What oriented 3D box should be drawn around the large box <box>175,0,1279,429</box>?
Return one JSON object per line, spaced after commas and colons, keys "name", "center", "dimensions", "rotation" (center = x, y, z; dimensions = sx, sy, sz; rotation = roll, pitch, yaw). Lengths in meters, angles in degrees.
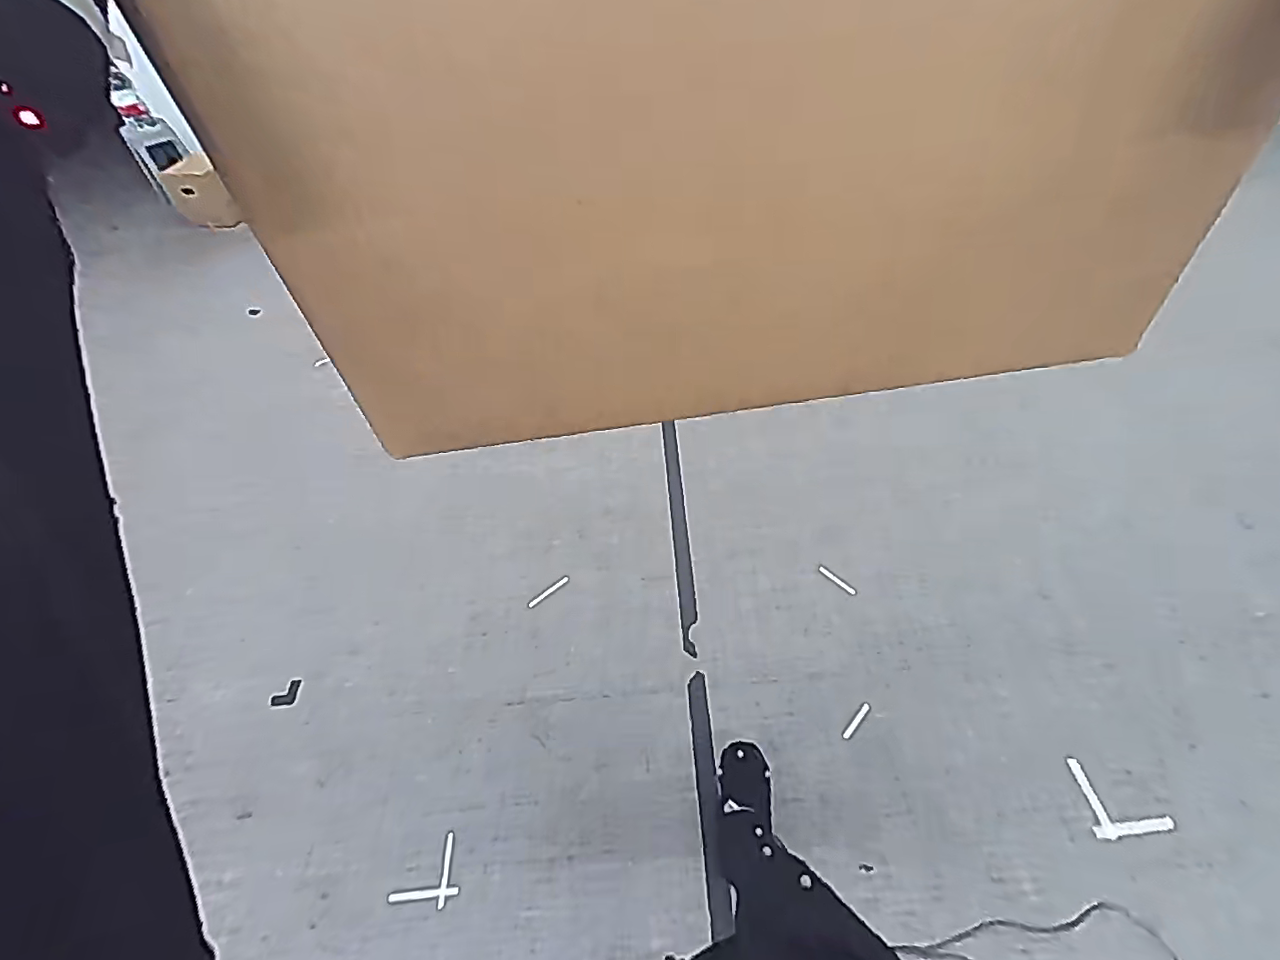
{"name": "large box", "center": [0.032, -0.261, 0.299], "dimensions": [0.408, 0.320, 0.320], "rotation": [-8, 46, -1]}
